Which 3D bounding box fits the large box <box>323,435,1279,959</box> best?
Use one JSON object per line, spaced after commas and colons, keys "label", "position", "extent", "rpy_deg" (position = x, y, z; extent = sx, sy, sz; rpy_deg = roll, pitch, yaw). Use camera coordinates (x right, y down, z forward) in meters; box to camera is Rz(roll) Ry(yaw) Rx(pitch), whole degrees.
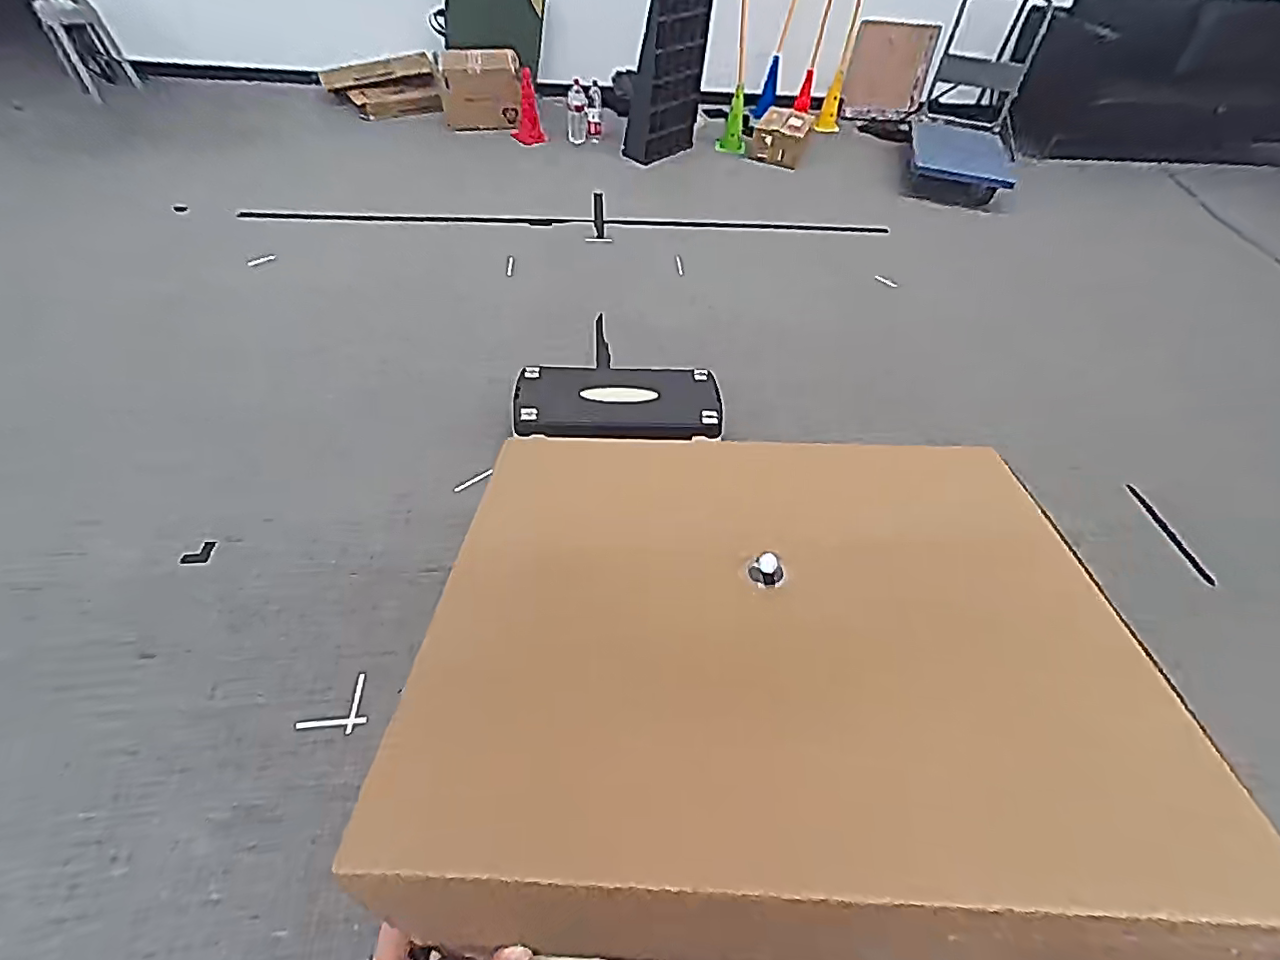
{"label": "large box", "position": [0.068, 0.177, 0.431], "extent": [0.408, 0.320, 0.320], "rpy_deg": [-1, 42, 3]}

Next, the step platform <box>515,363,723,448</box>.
{"label": "step platform", "position": [-0.067, -0.215, 1.804], "extent": [0.684, 0.204, 0.286], "rpy_deg": [4, 51, -2]}
